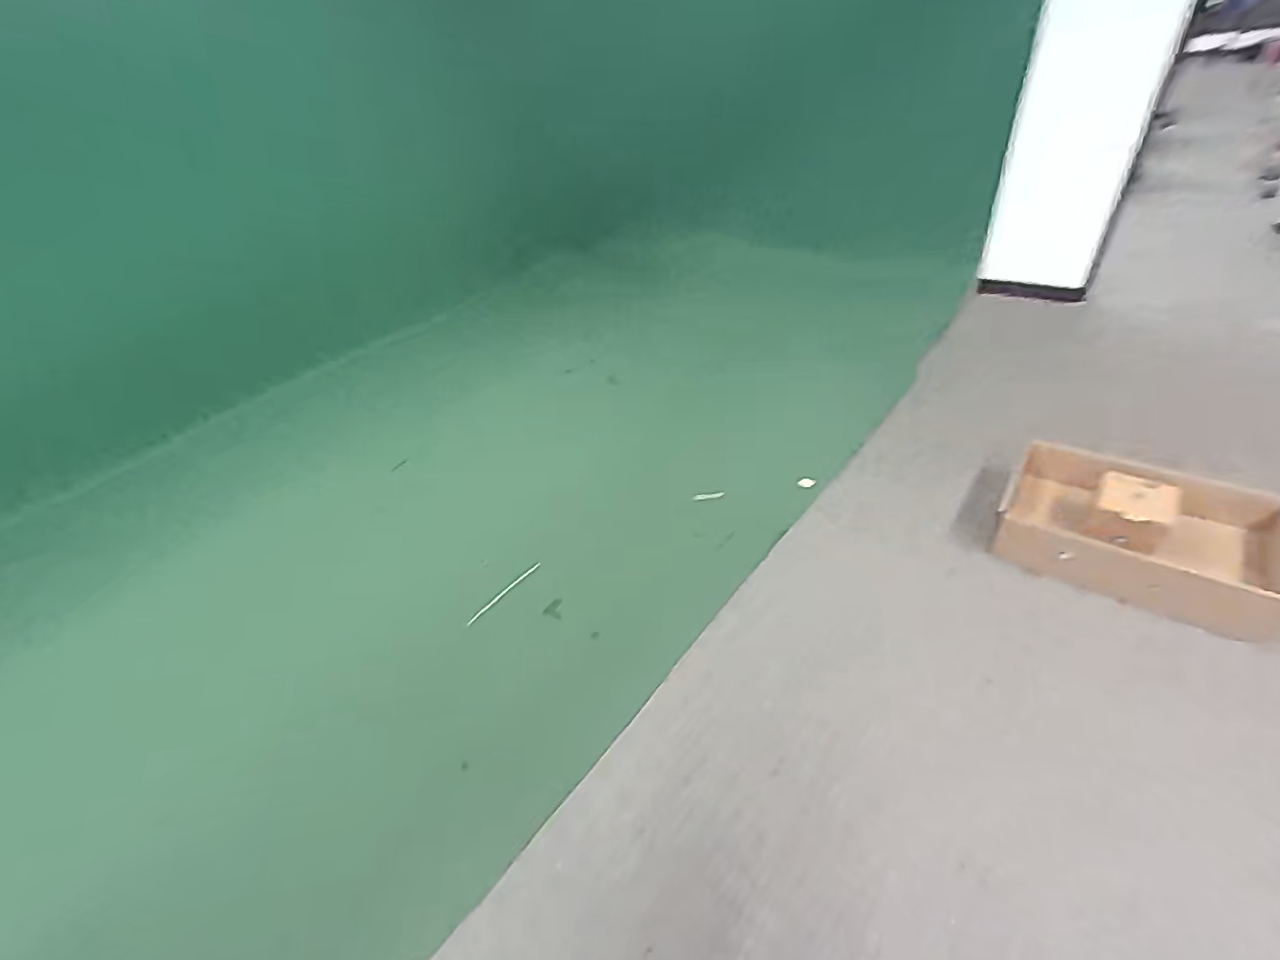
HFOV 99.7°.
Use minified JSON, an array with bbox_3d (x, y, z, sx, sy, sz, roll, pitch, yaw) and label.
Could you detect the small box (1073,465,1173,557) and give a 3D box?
[{"bbox_3d":[1.392,0.092,1.566,0.168,0.176,0.179,23,52,33],"label":"small box"}]
